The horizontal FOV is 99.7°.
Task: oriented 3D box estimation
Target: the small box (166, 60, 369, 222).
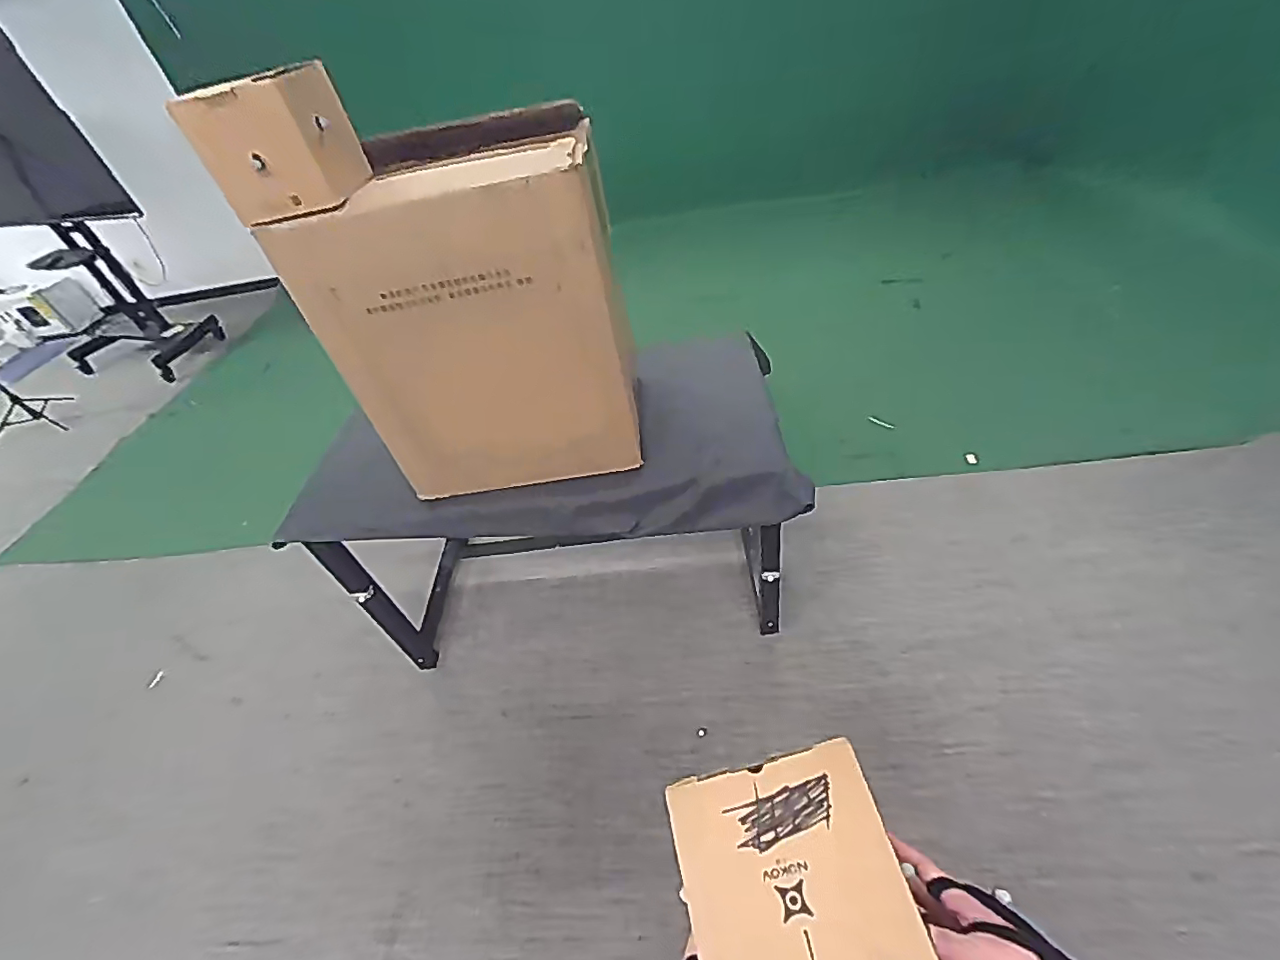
[{"bbox_3d":[-0.562,-0.525,0.850,0.168,0.176,0.179,-9,44,6],"label":"small box"}]
